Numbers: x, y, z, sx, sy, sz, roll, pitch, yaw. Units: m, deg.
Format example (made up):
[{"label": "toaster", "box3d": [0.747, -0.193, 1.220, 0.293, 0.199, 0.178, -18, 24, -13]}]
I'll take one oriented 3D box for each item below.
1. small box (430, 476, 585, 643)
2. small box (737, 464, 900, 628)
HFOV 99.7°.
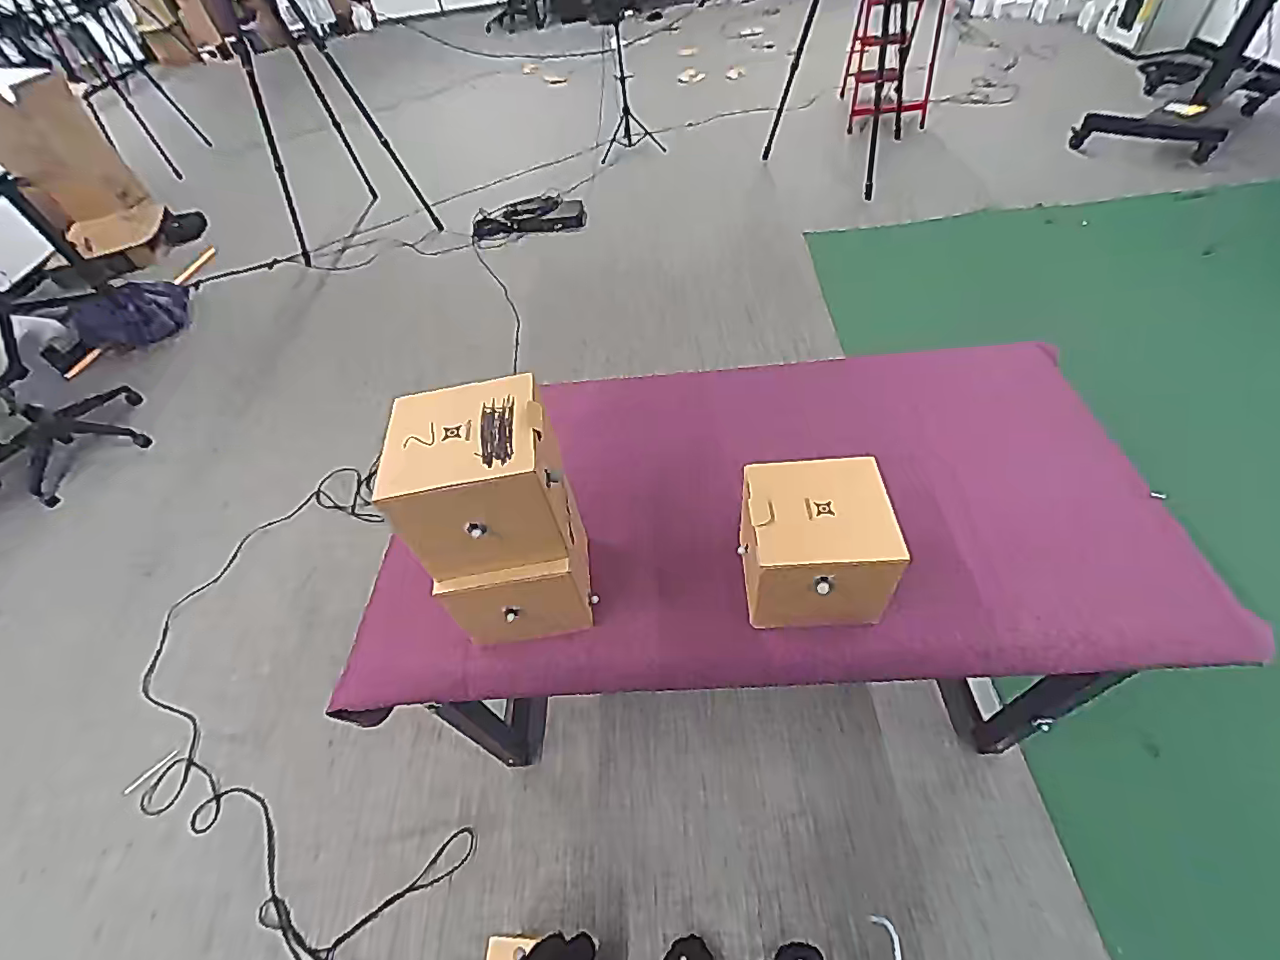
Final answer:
[{"label": "small box", "box3d": [-0.177, 0.118, 0.783, 0.179, 0.176, 0.168, -9, 50, 0]}, {"label": "small box", "box3d": [0.232, 0.096, 0.755, 0.179, 0.176, 0.168, -3, 50, 6]}]
